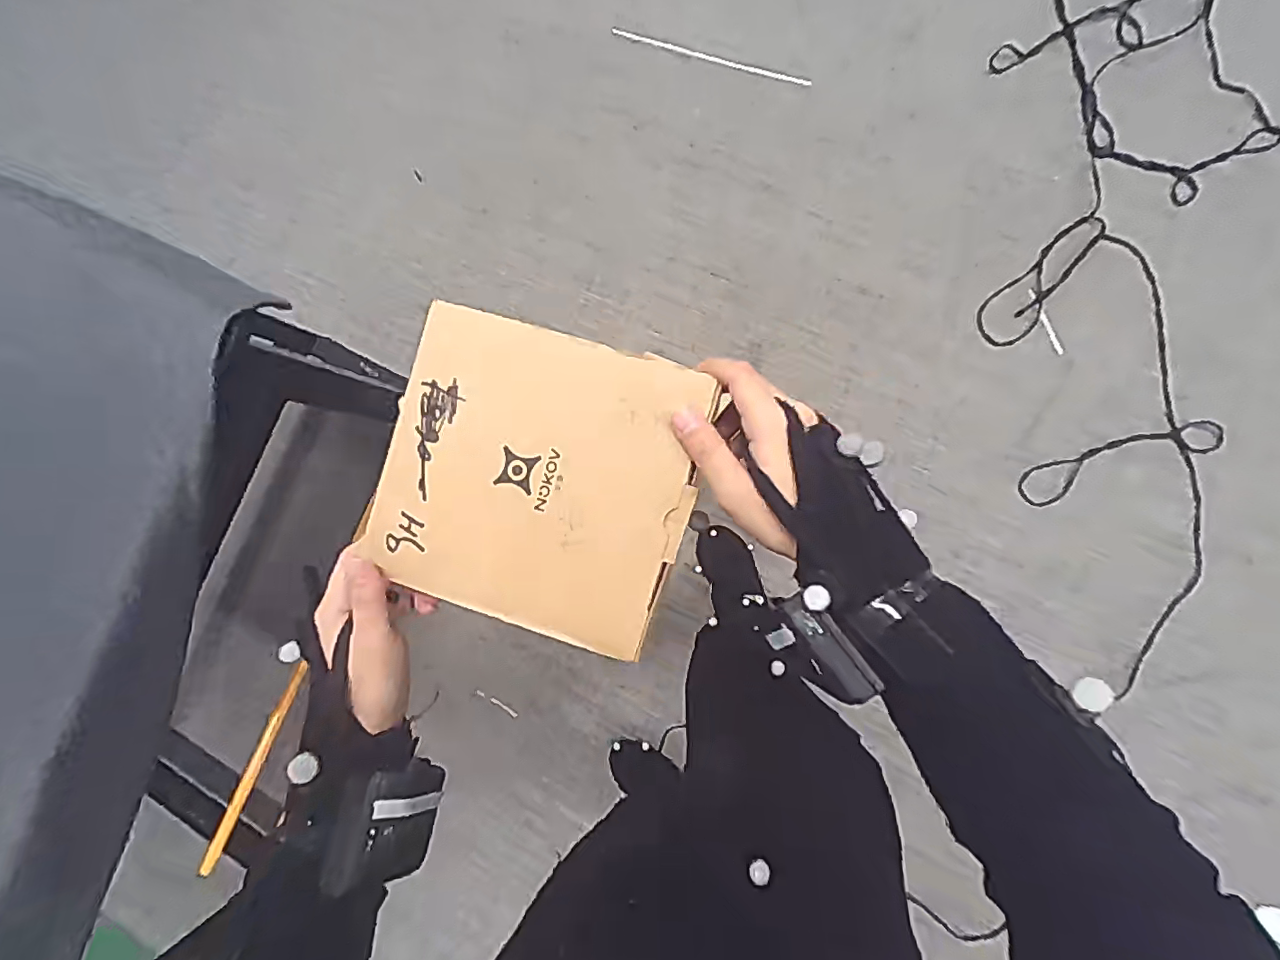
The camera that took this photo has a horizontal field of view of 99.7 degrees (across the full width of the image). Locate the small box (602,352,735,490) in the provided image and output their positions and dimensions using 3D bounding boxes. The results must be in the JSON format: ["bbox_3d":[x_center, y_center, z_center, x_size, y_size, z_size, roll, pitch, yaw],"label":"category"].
[{"bbox_3d":[0.058,-0.091,0.938,0.168,0.176,0.179,24,91,10],"label":"small box"}]

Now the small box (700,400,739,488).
[{"bbox_3d":[0.090,-0.096,1.100,0.168,0.176,0.179,27,92,11],"label":"small box"}]
